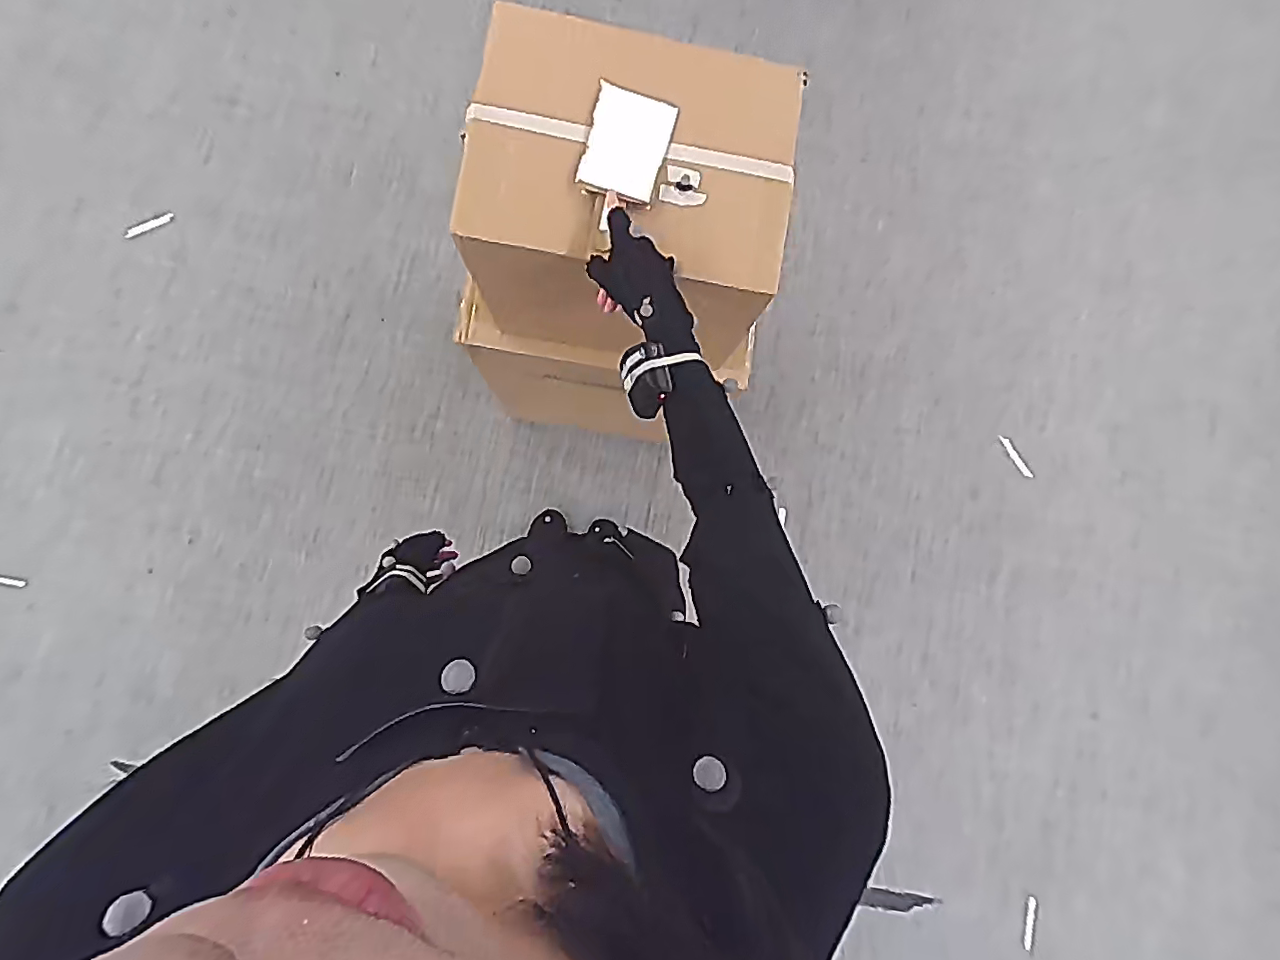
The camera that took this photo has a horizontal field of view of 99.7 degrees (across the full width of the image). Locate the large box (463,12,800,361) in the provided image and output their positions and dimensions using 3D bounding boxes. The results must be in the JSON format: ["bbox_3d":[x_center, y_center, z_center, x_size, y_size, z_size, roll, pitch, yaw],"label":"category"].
[{"bbox_3d":[-0.018,-0.405,0.833,0.408,0.320,0.320,9,84,-5],"label":"large box"}]
